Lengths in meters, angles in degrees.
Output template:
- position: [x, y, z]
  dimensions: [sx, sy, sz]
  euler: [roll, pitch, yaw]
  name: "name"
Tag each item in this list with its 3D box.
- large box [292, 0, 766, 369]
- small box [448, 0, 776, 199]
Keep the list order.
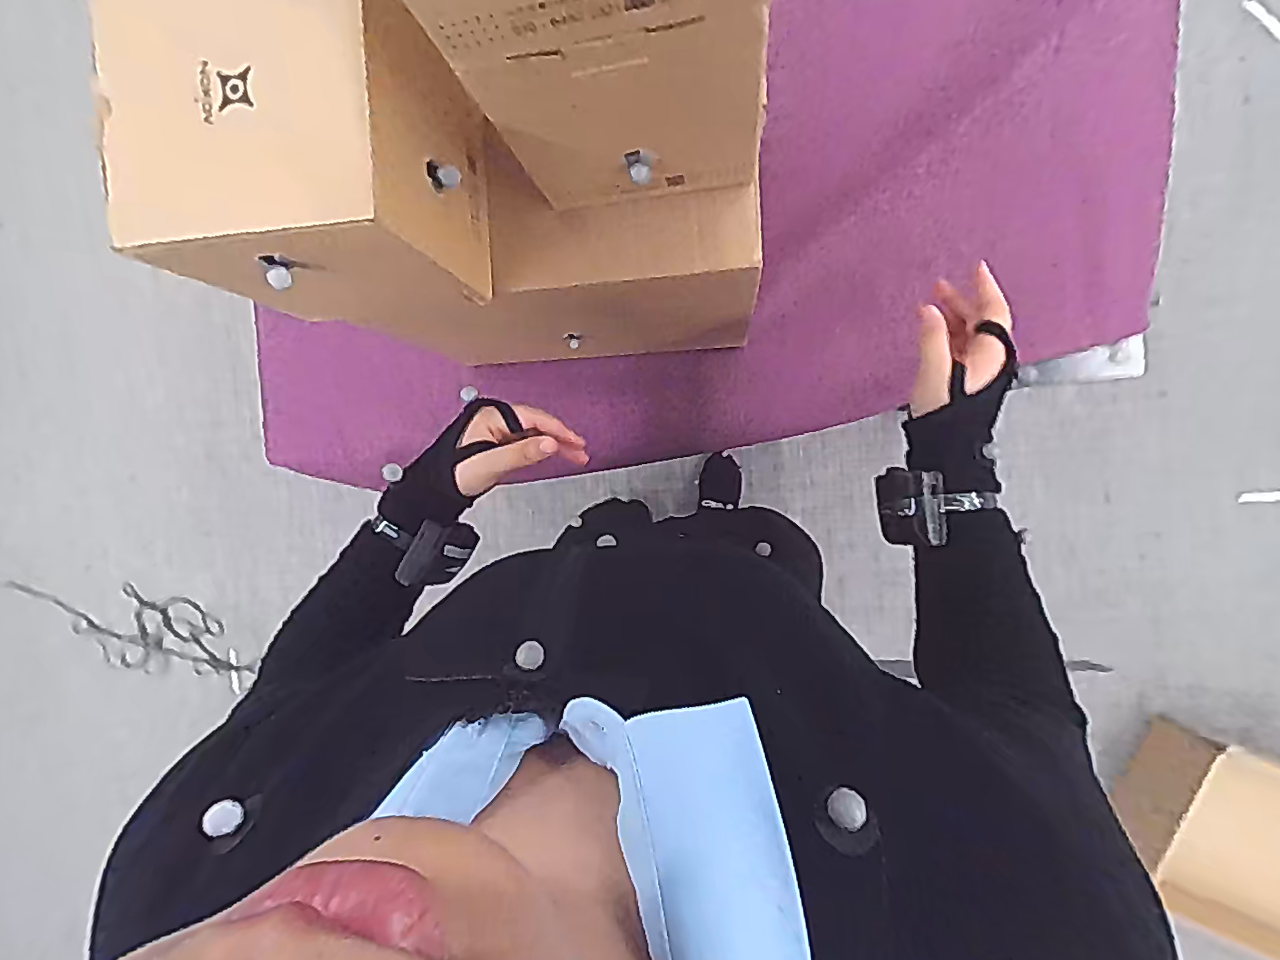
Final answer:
- position: [-0.081, -0.316, 0.601]
  dimensions: [0.408, 0.320, 0.320]
  euler: [-4, 90, 10]
  name: "large box"
- position: [-0.008, -0.312, 0.341]
  dimensions: [0.168, 0.176, 0.179]
  euler: [-3, 92, 10]
  name: "small box"
